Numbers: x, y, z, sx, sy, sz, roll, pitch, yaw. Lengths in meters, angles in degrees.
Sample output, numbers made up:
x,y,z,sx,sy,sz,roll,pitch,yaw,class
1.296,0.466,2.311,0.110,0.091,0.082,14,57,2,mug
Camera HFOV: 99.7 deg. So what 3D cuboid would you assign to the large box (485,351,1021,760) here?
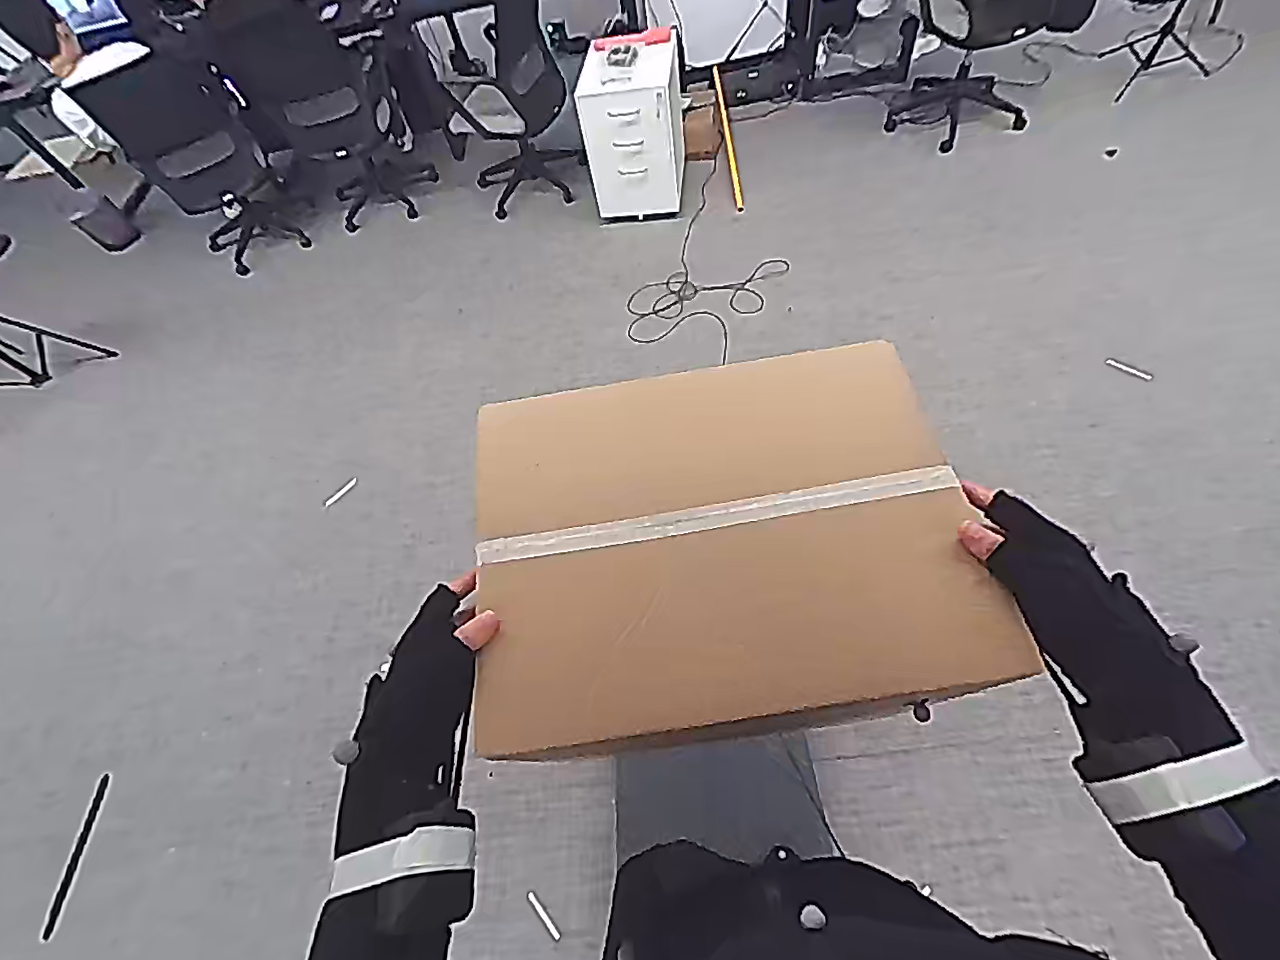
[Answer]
x,y,z,sx,sy,sz,roll,pitch,yaw,class
0.078,0.105,0.594,0.408,0.320,0.320,-9,61,1,large box
